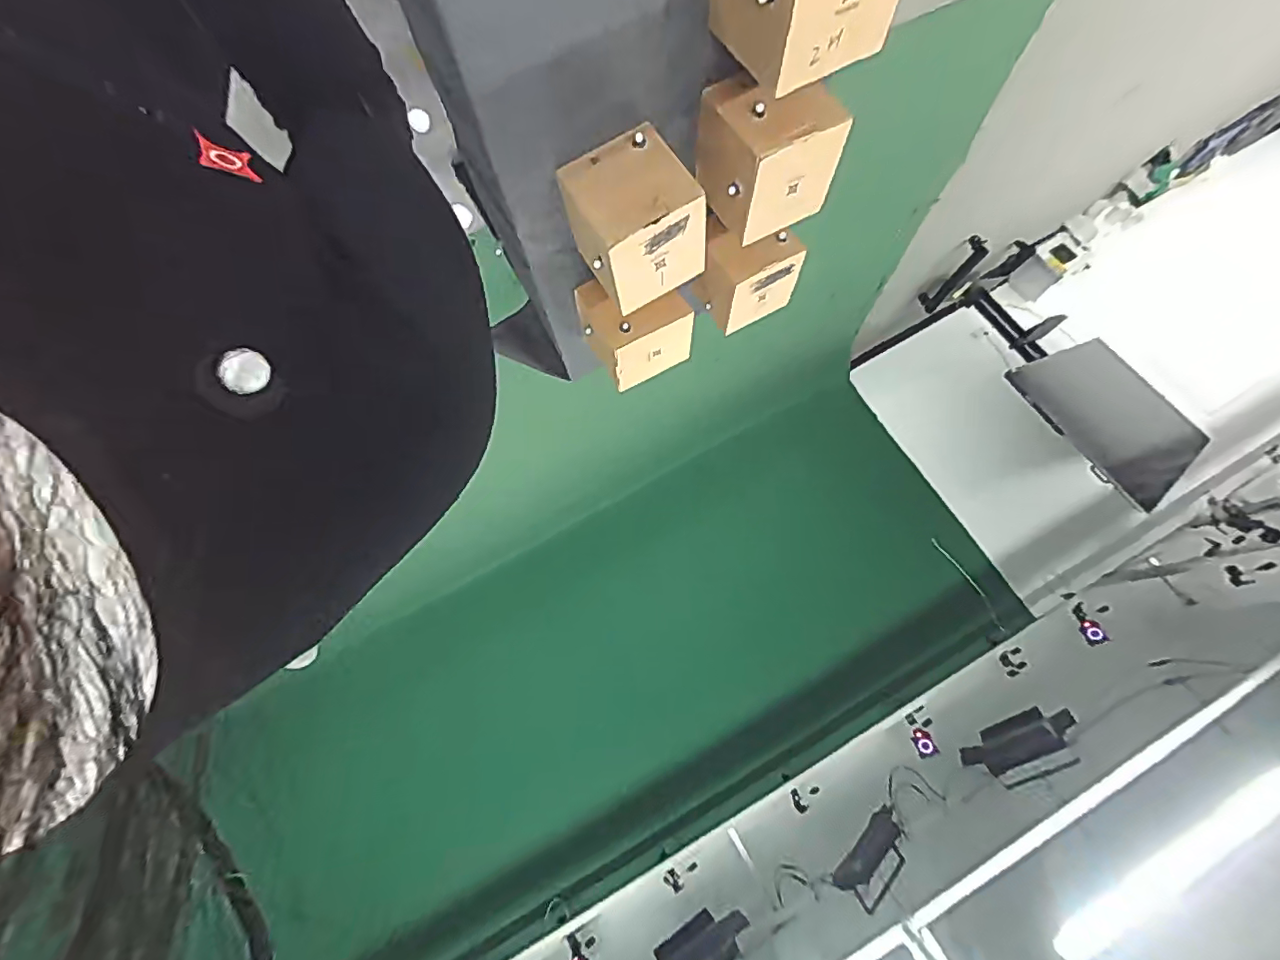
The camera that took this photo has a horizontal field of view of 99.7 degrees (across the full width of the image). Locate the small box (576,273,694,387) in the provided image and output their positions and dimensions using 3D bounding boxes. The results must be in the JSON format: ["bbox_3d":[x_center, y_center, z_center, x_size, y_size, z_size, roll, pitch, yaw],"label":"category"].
[{"bbox_3d":[-0.012,-0.330,1.113,0.179,0.176,0.168,-29,163,-9],"label":"small box"}]

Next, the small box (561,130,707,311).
[{"bbox_3d":[-0.007,-0.417,0.866,0.168,0.176,0.179,-31,164,-3],"label":"small box"}]
